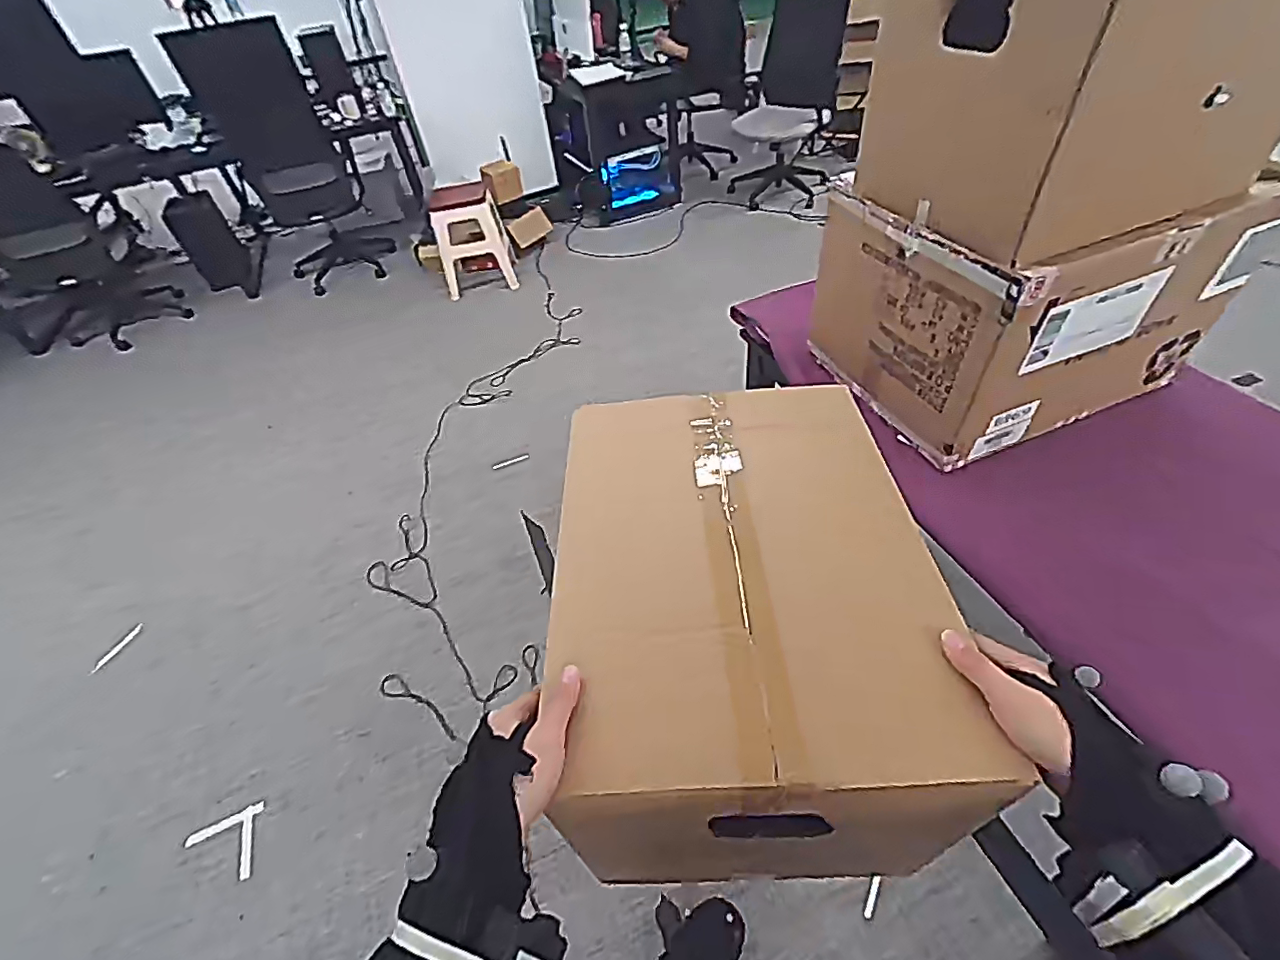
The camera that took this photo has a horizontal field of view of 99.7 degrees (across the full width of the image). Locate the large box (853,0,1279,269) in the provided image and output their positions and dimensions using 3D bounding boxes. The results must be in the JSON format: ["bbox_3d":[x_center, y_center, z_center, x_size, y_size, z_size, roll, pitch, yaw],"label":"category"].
[{"bbox_3d":[0.552,-0.520,0.686,0.408,0.320,0.320,-21,46,-11],"label":"large box"}]
